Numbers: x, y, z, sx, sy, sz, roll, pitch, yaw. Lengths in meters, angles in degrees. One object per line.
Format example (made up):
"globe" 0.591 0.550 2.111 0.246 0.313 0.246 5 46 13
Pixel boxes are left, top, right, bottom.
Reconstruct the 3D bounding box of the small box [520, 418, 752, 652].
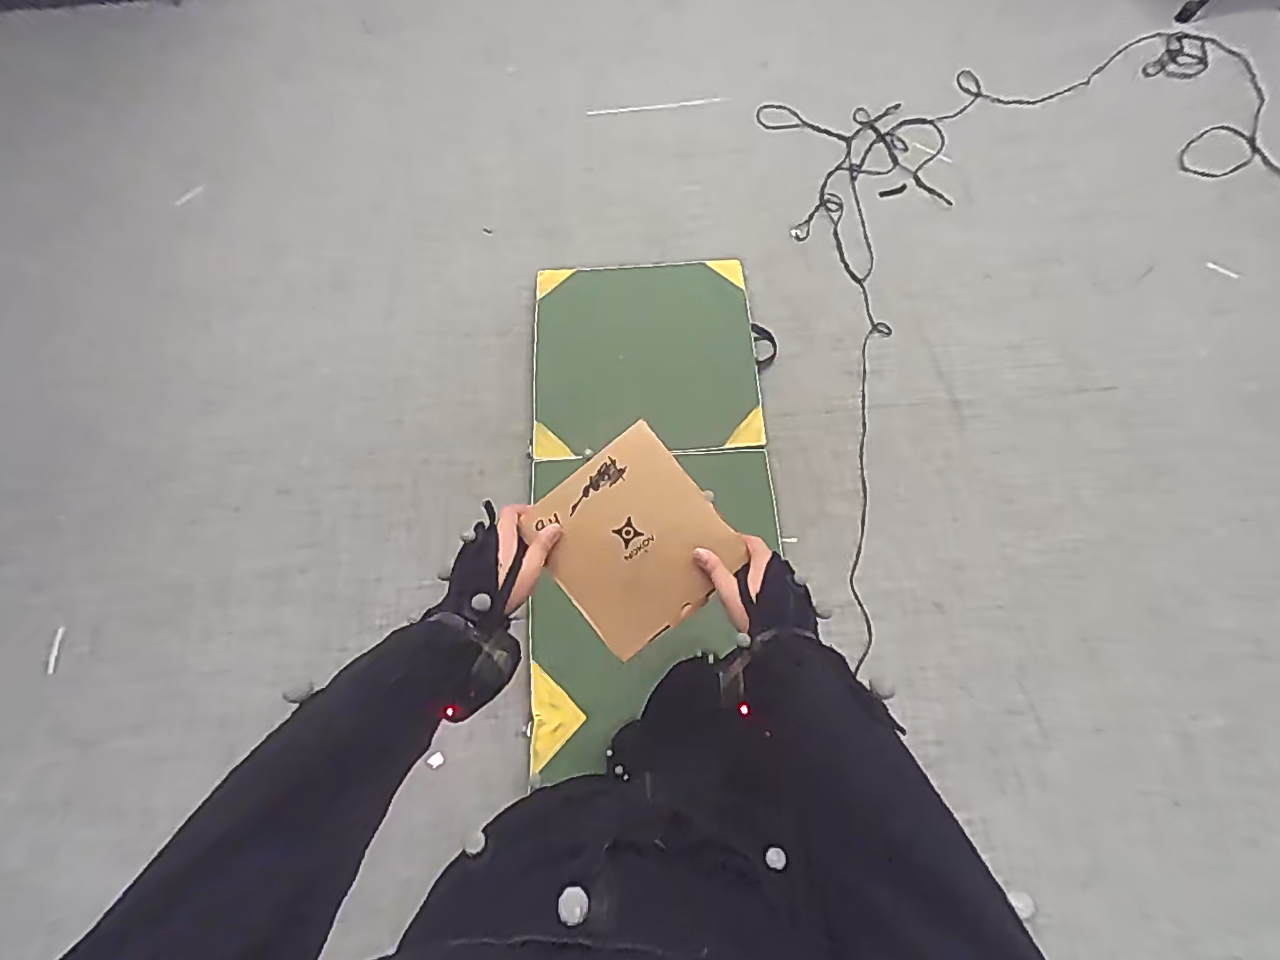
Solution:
"small box" -0.002 0.055 0.609 0.168 0.176 0.179 -39 87 -1
